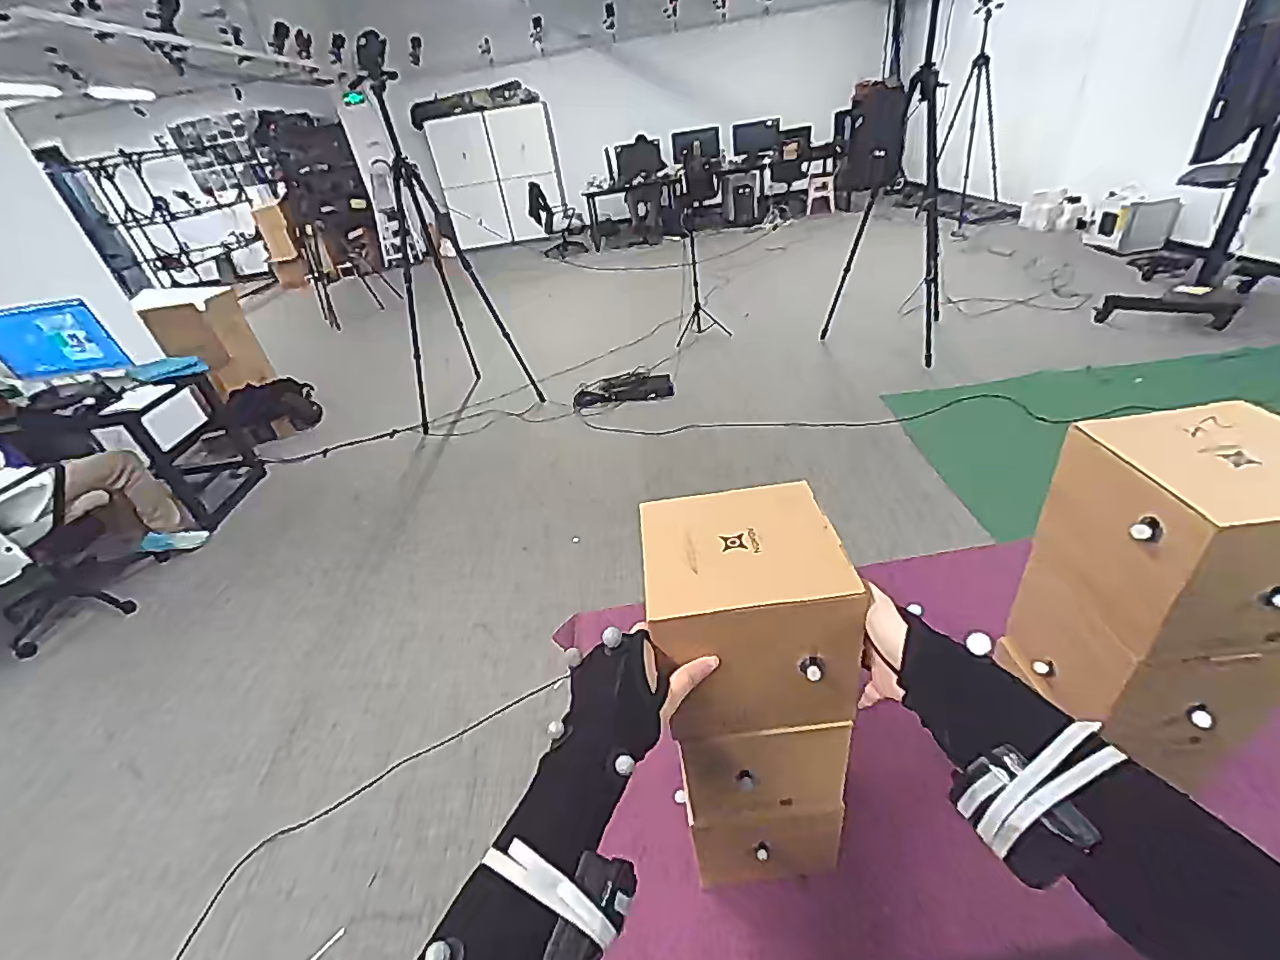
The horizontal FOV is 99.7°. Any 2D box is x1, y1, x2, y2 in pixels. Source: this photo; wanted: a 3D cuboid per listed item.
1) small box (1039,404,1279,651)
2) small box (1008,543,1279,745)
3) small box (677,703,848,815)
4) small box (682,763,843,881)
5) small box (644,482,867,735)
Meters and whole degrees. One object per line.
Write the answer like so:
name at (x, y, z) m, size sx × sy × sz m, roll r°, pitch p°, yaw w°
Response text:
small box at (0.538, 0.048, 0.526) m, size 0.168 × 0.176 × 0.179 m, roll -7°, pitch 33°, yaw 5°
small box at (0.564, 0.183, 0.619) m, size 0.168 × 0.176 × 0.179 m, roll -6°, pitch 35°, yaw 6°
small box at (0.127, 0.259, 0.623) m, size 0.168 × 0.176 × 0.179 m, roll -8°, pitch 33°, yaw 3°
small box at (0.148, 0.394, 0.711) m, size 0.179 × 0.176 × 0.168 m, roll -9°, pitch 34°, yaw 2°
small box at (0.102, 0.125, 0.533) m, size 0.179 × 0.176 × 0.168 m, roll -8°, pitch 32°, yaw 4°
